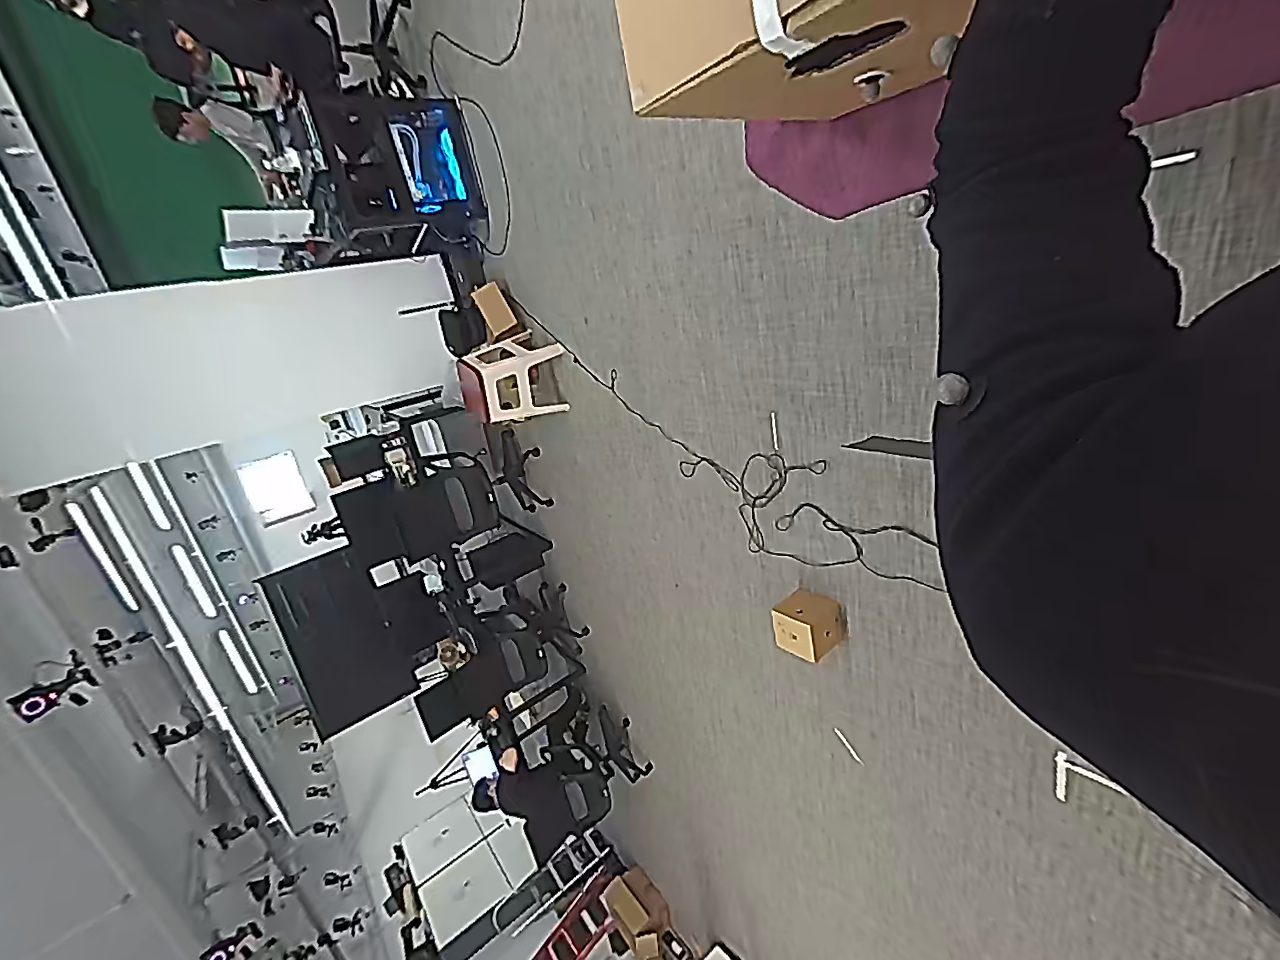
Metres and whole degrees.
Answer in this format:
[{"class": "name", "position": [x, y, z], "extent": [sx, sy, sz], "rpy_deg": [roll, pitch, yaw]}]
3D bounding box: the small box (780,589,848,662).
[{"class": "small box", "position": [0.643, 0.524, 1.980], "extent": [0.179, 0.176, 0.168], "rpy_deg": [14, 122, 54]}]
